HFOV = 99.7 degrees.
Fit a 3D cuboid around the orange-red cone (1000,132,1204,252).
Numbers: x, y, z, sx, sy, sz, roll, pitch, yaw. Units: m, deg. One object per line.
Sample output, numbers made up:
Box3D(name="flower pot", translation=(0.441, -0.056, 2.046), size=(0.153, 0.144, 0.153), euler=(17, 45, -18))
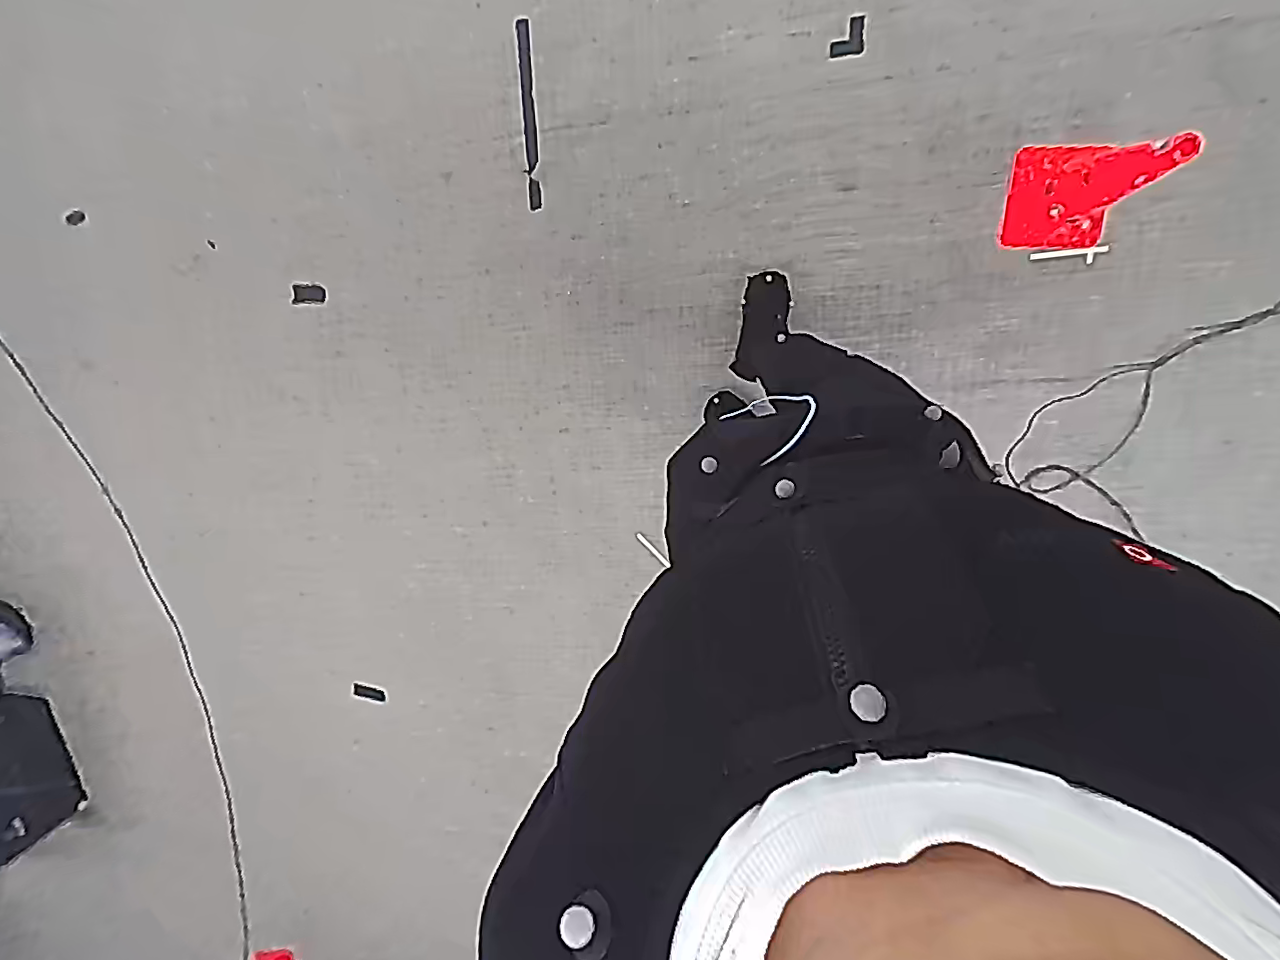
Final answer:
Box3D(name="orange-red cone", translation=(0.864, -0.557, 0.991), size=(0.198, 0.360, 0.199), euler=(6, 105, 8))
